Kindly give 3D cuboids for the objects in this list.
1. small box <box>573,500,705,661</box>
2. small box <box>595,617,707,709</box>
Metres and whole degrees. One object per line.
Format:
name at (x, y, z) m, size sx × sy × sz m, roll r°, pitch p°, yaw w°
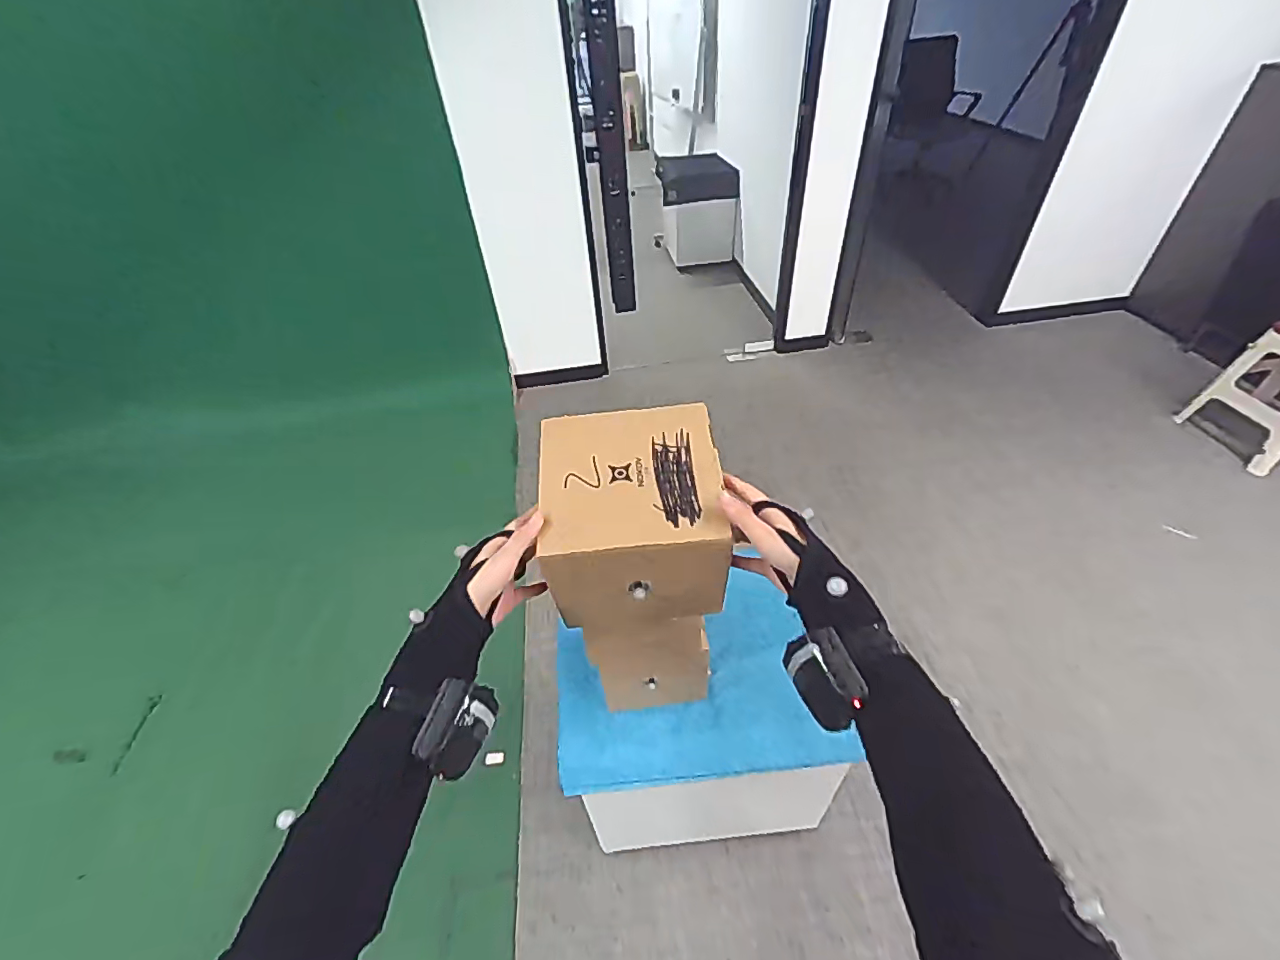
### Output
small box at (-0.005, 0.154, 0.823) m, size 0.179 × 0.176 × 0.168 m, roll -7°, pitch 42°, yaw -3°
small box at (0.013, 0.273, 0.936) m, size 0.179 × 0.176 × 0.168 m, roll -7°, pitch 42°, yaw -3°
